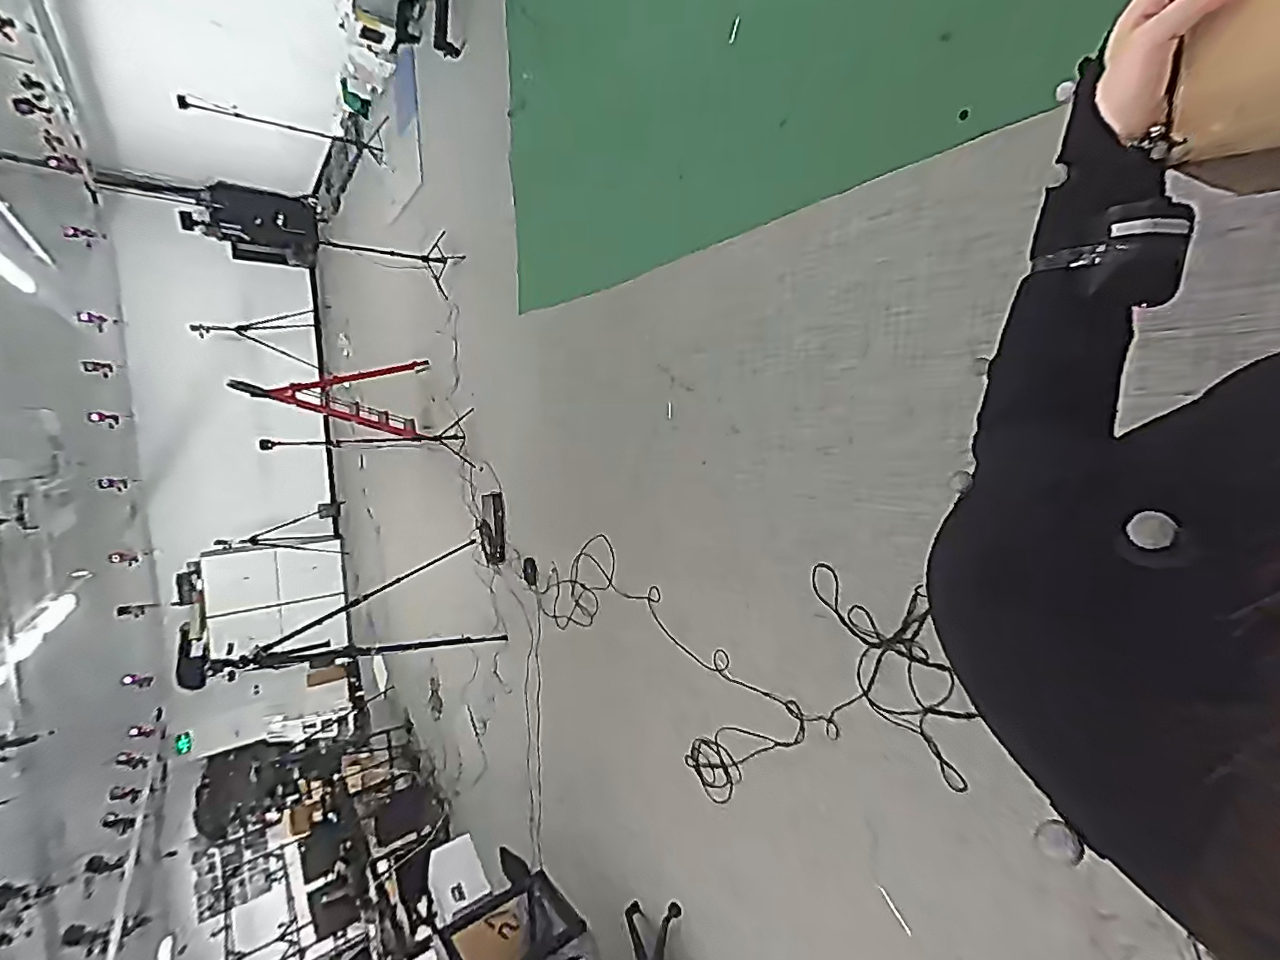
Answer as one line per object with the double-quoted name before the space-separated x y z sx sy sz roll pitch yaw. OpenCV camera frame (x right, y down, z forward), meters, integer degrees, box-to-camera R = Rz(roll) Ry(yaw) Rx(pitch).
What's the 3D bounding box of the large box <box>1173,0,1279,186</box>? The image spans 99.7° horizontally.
"large box" 0.605 -0.373 0.272 0.408 0.320 0.320 16 116 52
